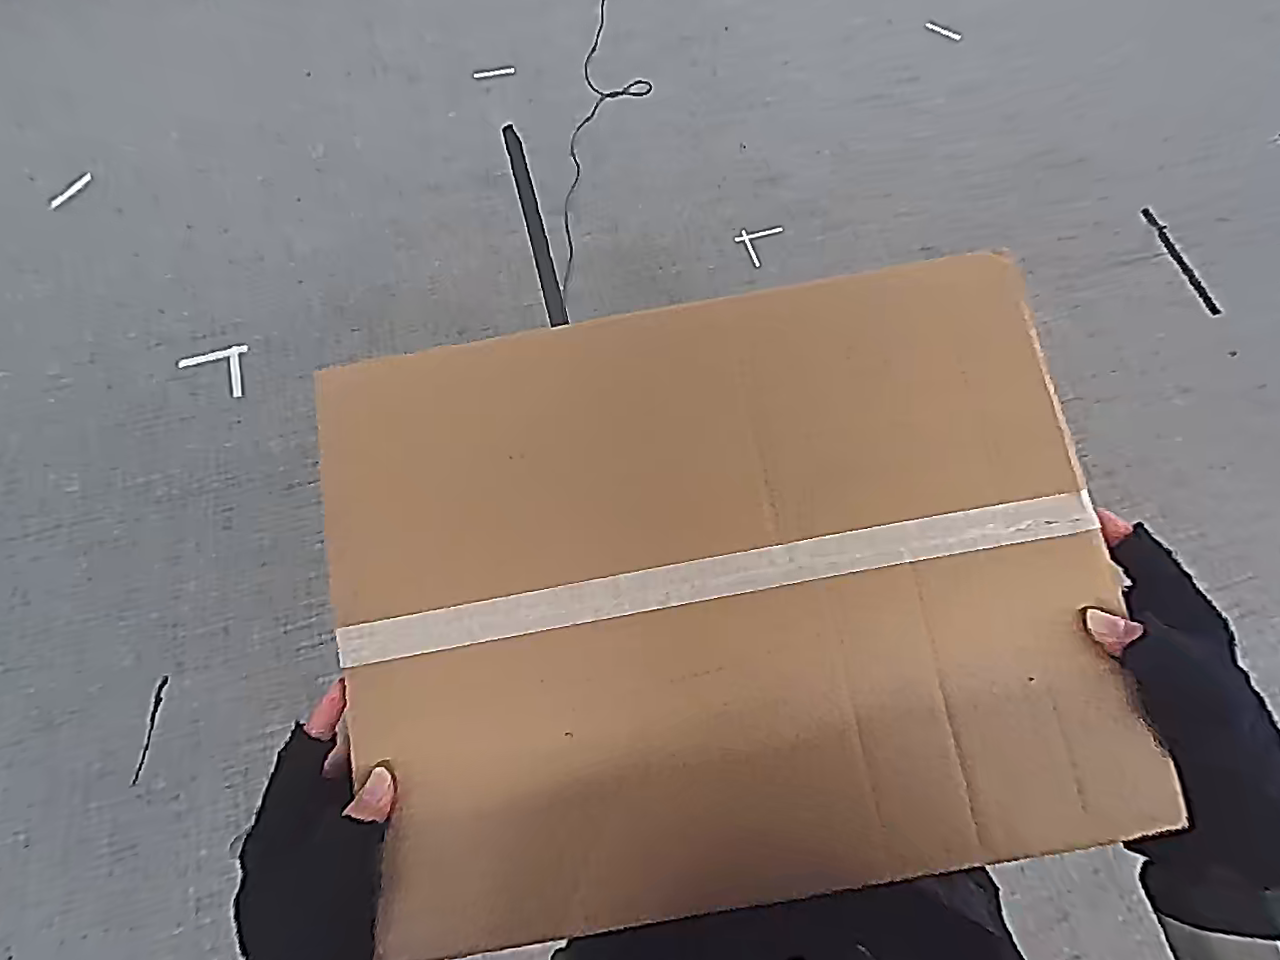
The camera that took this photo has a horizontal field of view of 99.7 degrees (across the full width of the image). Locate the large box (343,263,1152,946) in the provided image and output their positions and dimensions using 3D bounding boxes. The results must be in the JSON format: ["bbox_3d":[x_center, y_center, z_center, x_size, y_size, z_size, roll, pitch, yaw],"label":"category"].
[{"bbox_3d":[0.046,0.079,0.448,0.408,0.320,0.320,-11,82,0],"label":"large box"}]
